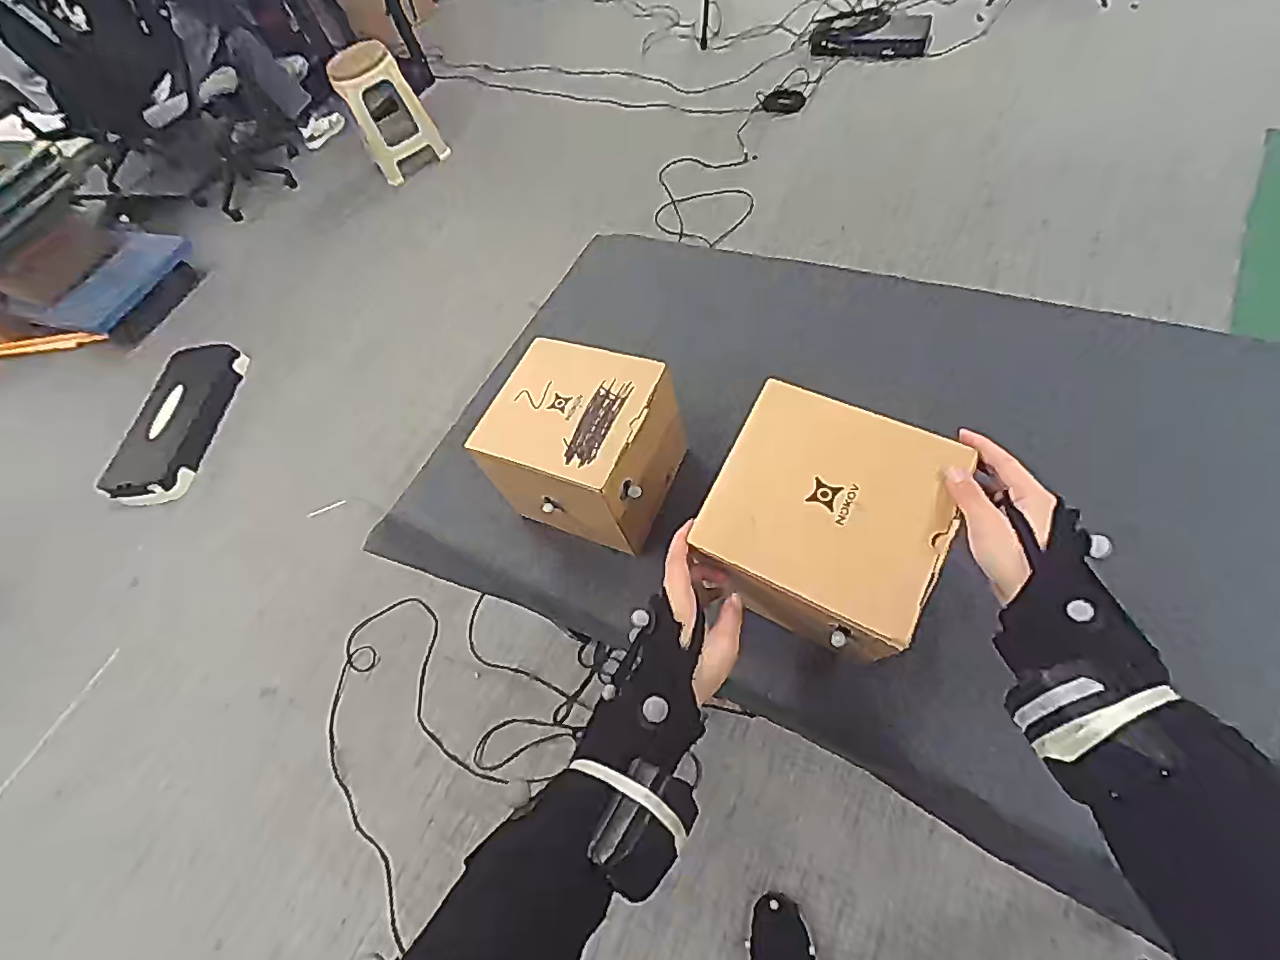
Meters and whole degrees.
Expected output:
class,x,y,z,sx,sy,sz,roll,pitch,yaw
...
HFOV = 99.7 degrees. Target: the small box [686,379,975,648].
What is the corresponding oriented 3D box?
class,x,y,z,sx,sy,sz,roll,pitch,yaw
small box,0.162,0.041,0.499,0.179,0.176,0.168,24,74,19
